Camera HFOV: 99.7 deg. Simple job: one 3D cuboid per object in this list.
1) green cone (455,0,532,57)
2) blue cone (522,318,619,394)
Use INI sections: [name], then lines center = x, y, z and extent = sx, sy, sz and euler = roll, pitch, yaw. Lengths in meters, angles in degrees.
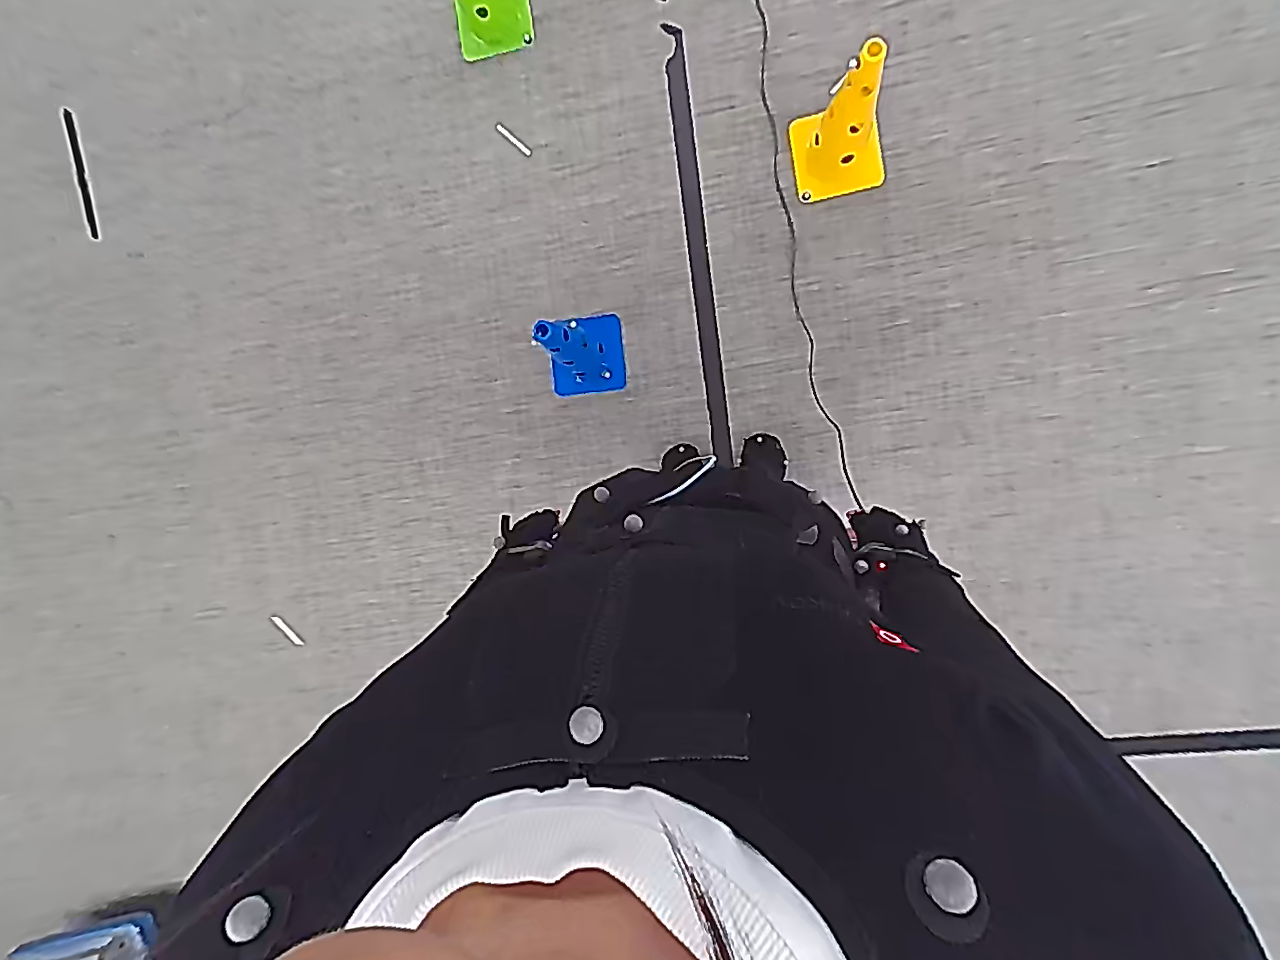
[green cone]
center = -0.414, -1.207, 1.232
extent = 0.202, 0.368, 0.200
euler = -7, 94, 11
[blue cone]
center = -0.180, -0.320, 1.284
extent = 0.192, 0.380, 0.193
euler = -3, 94, 11
